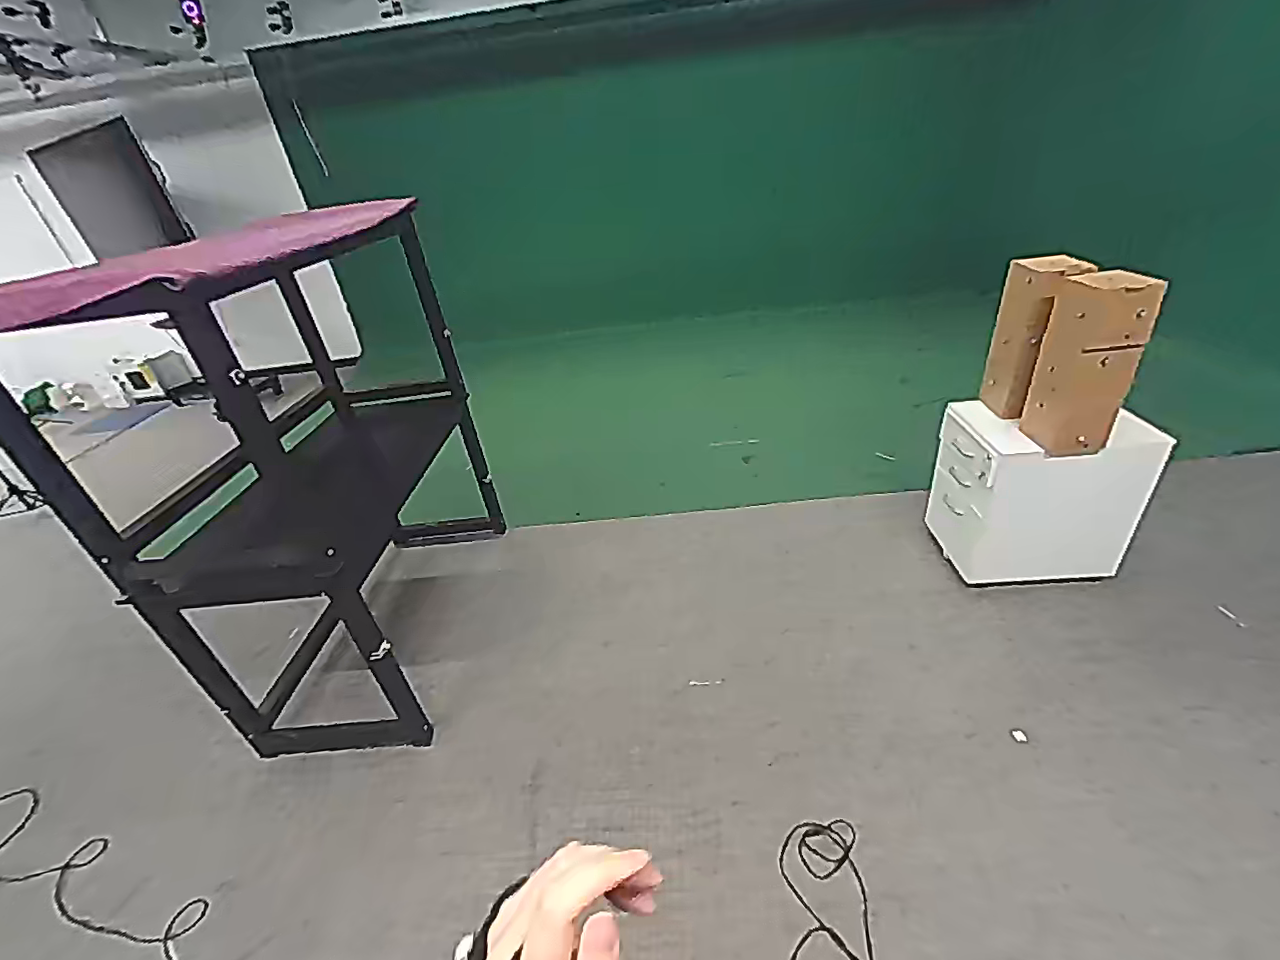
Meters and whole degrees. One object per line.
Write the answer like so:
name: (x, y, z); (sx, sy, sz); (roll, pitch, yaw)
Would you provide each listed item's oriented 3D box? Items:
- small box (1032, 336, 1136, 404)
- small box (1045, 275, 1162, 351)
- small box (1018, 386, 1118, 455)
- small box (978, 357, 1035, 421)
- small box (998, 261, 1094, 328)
small box: (1.321, -0.337, 1.627); (0.179, 0.176, 0.168); (-6, 32, 3)
small box: (1.304, -0.471, 1.536); (0.168, 0.176, 0.179); (-5, 30, 5)
small box: (1.336, -0.193, 1.707); (0.168, 0.176, 0.179); (-4, 31, 6)
small box: (1.333, -0.323, 1.917); (0.168, 0.176, 0.179); (-4, 33, 6)
small box: (1.297, -0.598, 1.744); (0.168, 0.176, 0.179); (-4, 33, 5)
